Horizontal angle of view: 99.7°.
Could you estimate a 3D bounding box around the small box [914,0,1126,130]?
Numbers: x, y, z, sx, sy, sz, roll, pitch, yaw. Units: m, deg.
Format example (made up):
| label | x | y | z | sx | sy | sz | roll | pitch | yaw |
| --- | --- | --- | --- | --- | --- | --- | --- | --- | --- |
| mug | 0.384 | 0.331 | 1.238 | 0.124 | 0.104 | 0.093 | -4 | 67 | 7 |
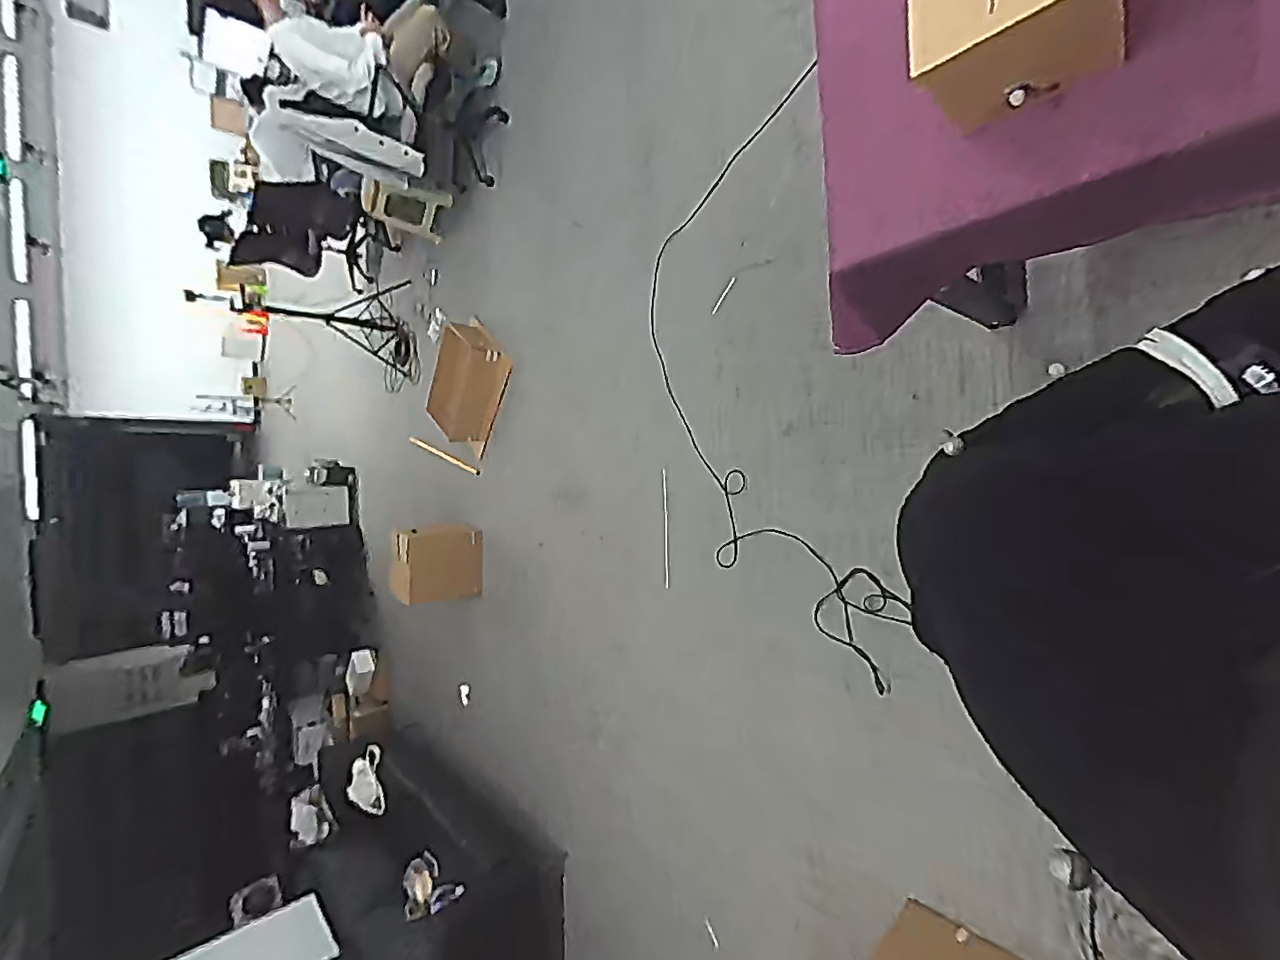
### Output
| label | x | y | z | sx | sy | sz | roll | pitch | yaw |
| --- | --- | --- | --- | --- | --- | --- | --- | --- | --- |
| small box | 0.423 | -0.542 | 0.604 | 0.168 | 0.176 | 0.179 | -1 | 92 | 48 |
